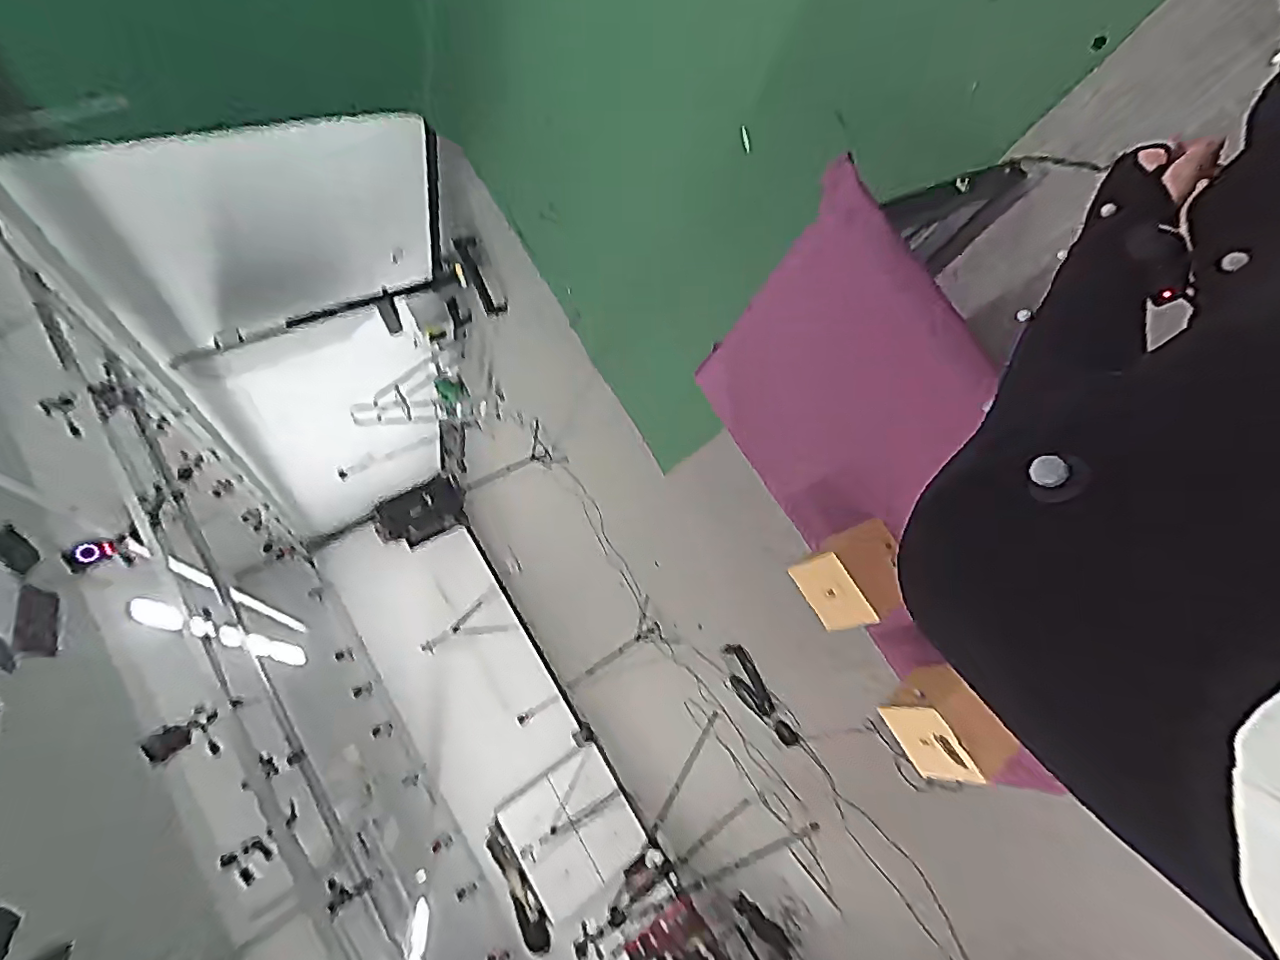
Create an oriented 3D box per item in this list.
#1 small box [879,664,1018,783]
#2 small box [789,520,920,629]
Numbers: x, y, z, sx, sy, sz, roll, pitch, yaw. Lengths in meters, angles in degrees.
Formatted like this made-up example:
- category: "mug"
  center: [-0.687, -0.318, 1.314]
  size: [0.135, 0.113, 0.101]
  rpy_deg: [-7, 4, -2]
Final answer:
- category: "small box"
  center: [0.667, 0.514, 1.162]
  size: [0.168, 0.176, 0.179]
  rpy_deg: [58, 153, 10]
- category: "small box"
  center: [0.481, 0.213, 1.217]
  size: [0.168, 0.176, 0.179]
  rpy_deg: [57, 152, 8]
